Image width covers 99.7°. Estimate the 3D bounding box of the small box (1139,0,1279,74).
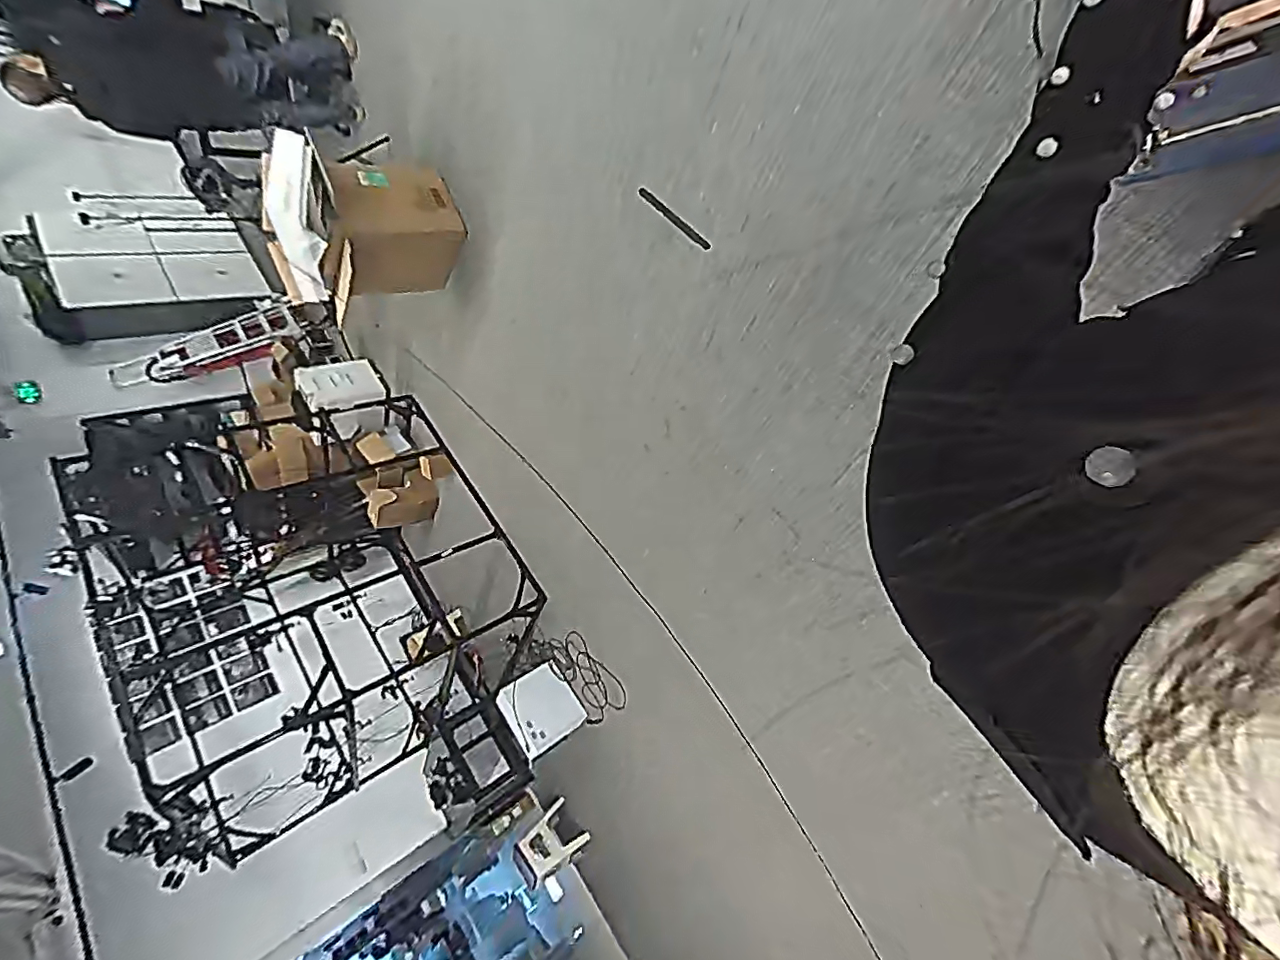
[{"bbox_3d":[0.813,-0.699,0.747,0.168,0.176,0.179,0,108,48],"label":"small box"}]
